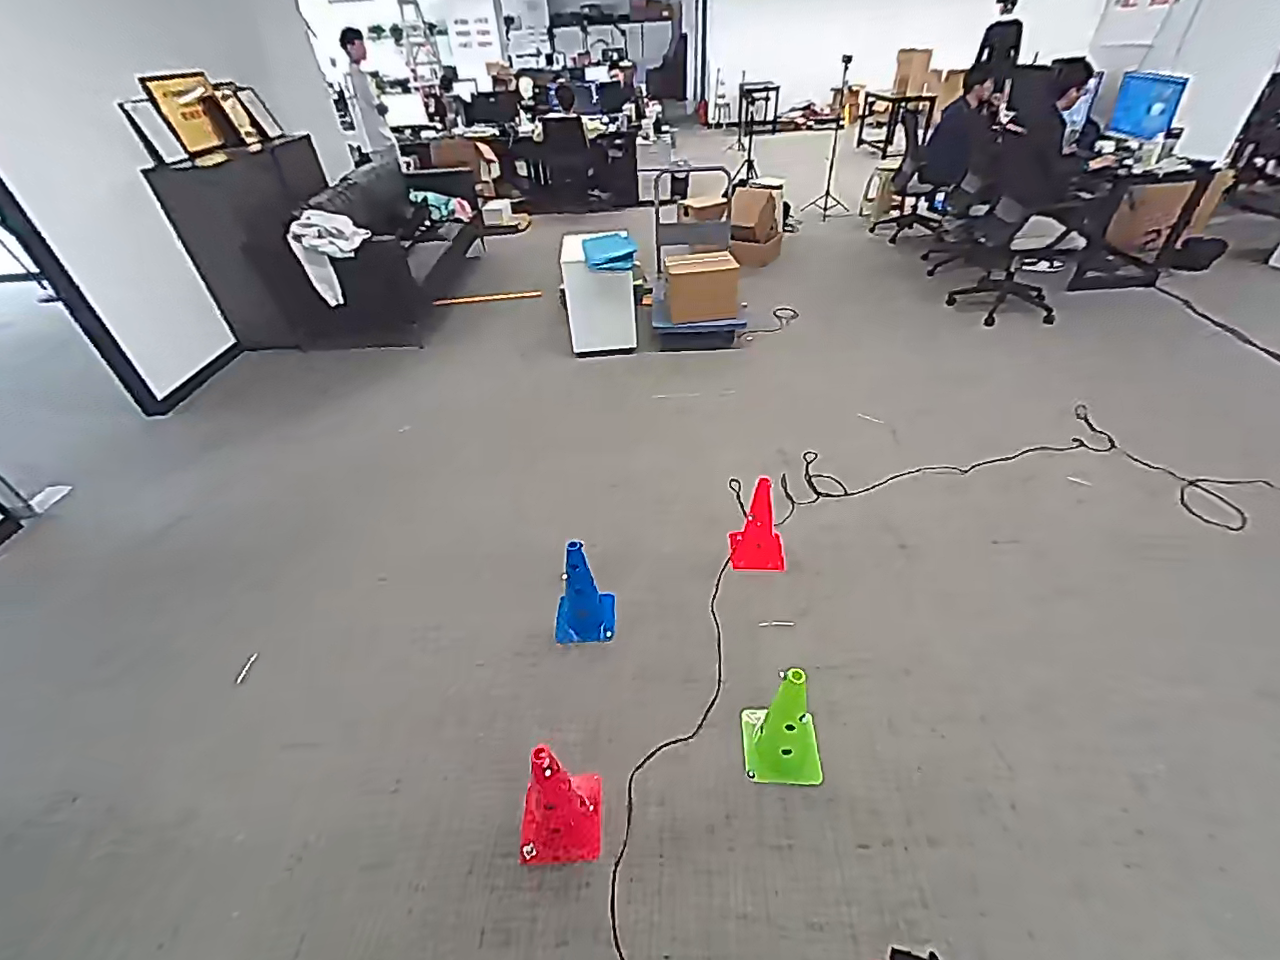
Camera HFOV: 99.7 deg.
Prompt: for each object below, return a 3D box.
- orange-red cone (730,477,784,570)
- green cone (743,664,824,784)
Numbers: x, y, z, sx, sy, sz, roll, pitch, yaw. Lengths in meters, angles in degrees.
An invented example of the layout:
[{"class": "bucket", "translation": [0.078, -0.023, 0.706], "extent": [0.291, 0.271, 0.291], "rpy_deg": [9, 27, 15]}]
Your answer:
[{"class": "orange-red cone", "translation": [0.430, 0.138, 1.953], "extent": [0.198, 0.360, 0.199], "rpy_deg": [0, 40, 7]}, {"class": "green cone", "translation": [0.383, 0.596, 1.383], "extent": [0.200, 0.368, 0.202], "rpy_deg": [0, 38, 4]}]
